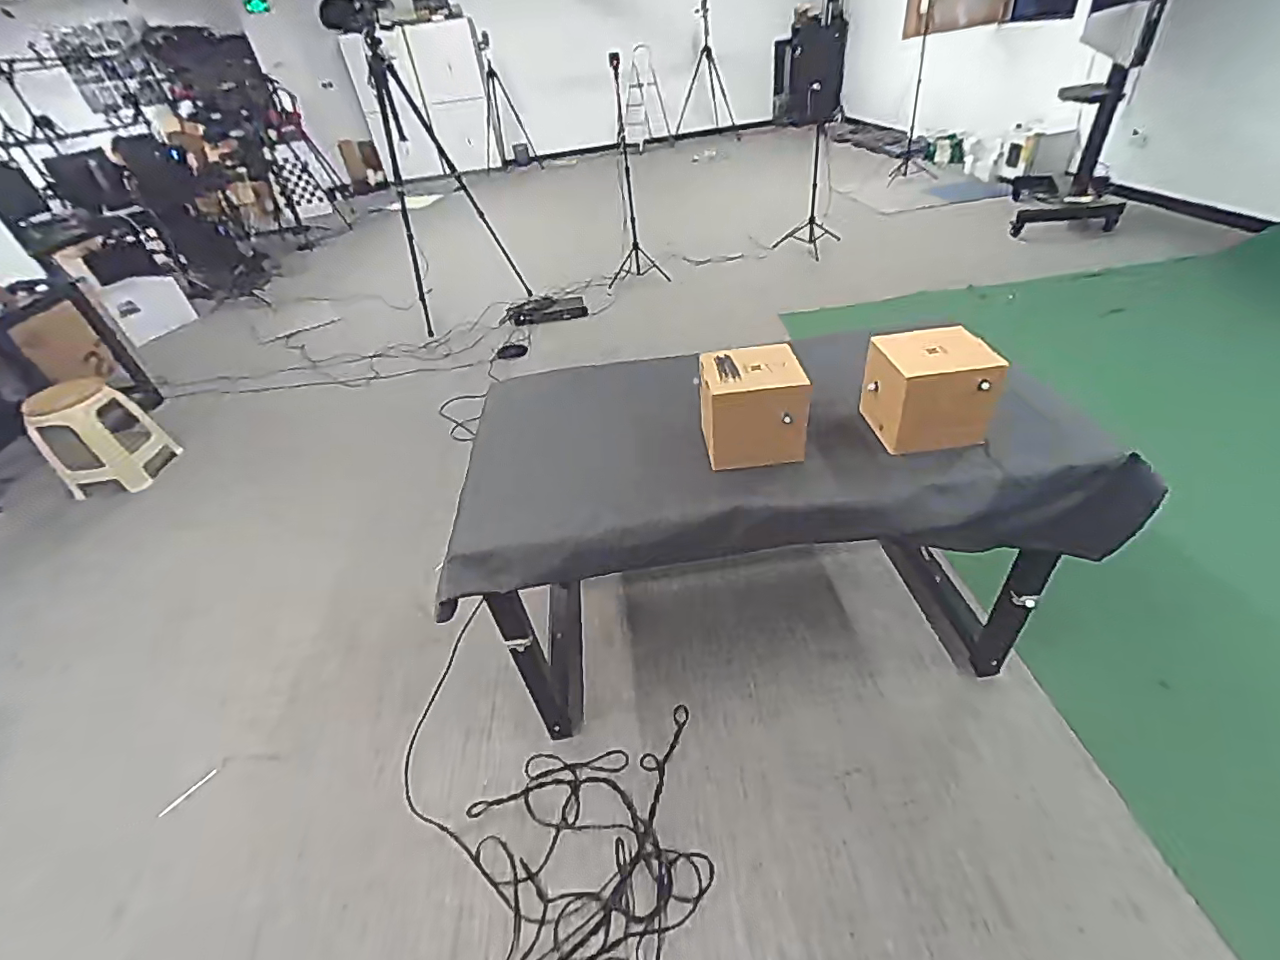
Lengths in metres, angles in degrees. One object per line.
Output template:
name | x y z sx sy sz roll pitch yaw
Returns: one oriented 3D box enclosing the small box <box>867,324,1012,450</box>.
small box | 0.540 -0.170 1.009 0.179 0.176 0.168 -7 39 2
